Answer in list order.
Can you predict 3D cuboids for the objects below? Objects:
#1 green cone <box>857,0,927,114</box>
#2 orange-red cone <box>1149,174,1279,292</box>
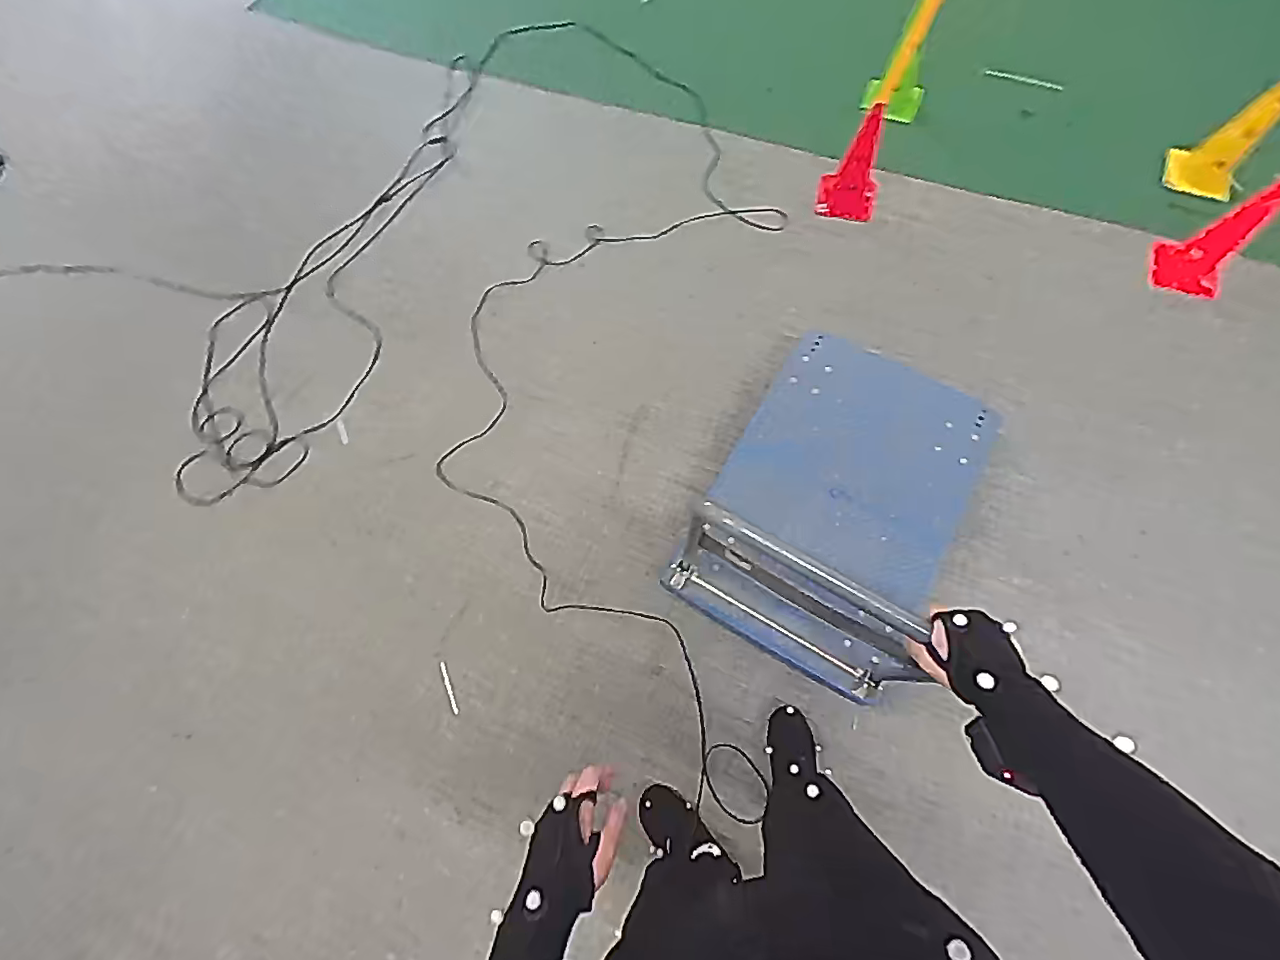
[{"bbox_3d":[0.959,-1.571,1.956,0.200,0.368,0.202,20,71,11],"label":"green cone"},{"bbox_3d":[1.780,-0.778,1.620,0.198,0.360,0.199,20,70,9],"label":"orange-red cone"}]
